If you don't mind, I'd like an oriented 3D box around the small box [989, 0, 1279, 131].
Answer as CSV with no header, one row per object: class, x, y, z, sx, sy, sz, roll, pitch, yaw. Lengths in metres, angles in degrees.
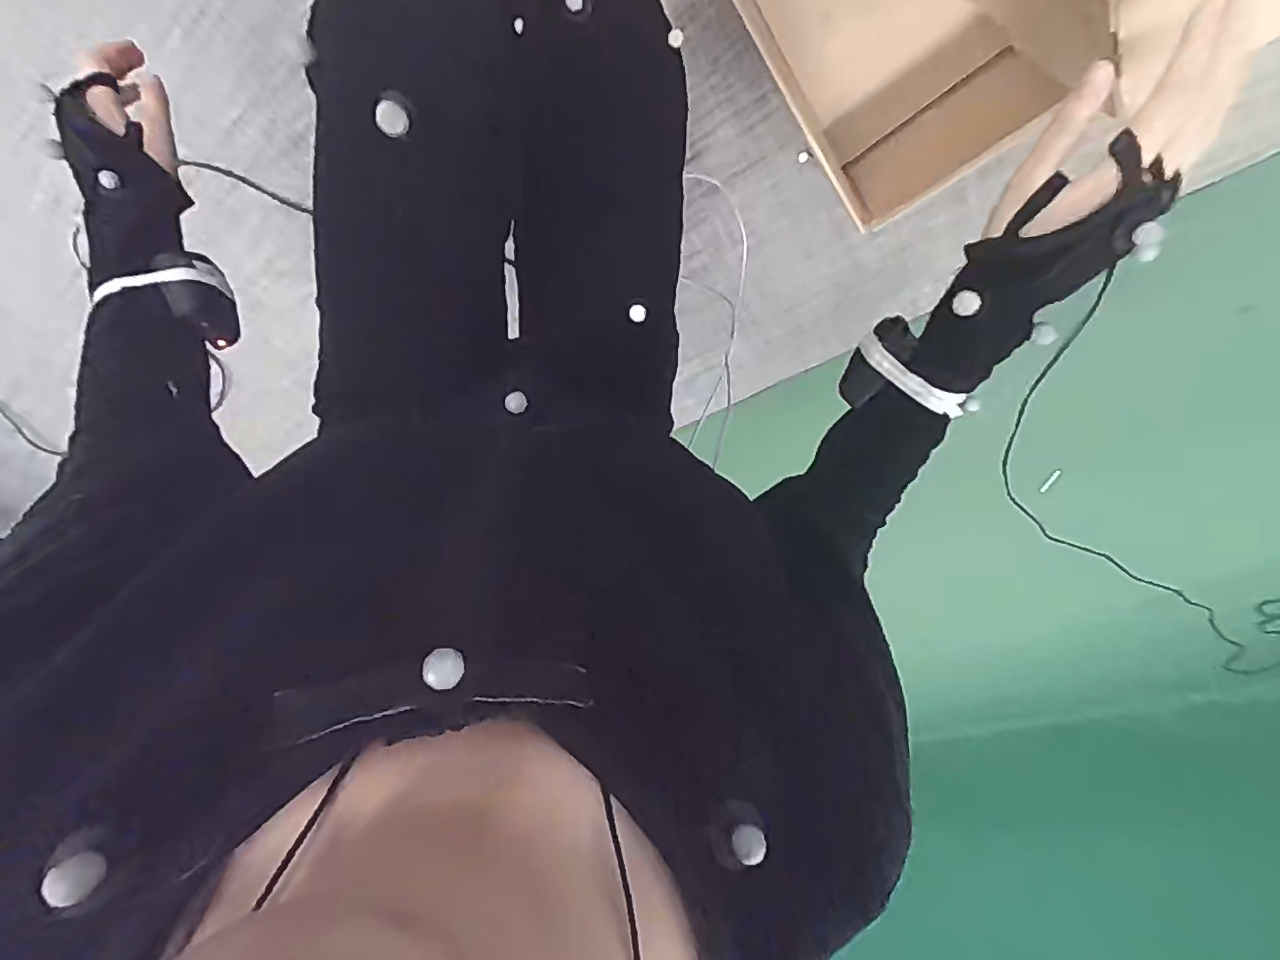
small box,0.323,-0.362,0.310,0.179,0.176,0.168,-24,137,29
